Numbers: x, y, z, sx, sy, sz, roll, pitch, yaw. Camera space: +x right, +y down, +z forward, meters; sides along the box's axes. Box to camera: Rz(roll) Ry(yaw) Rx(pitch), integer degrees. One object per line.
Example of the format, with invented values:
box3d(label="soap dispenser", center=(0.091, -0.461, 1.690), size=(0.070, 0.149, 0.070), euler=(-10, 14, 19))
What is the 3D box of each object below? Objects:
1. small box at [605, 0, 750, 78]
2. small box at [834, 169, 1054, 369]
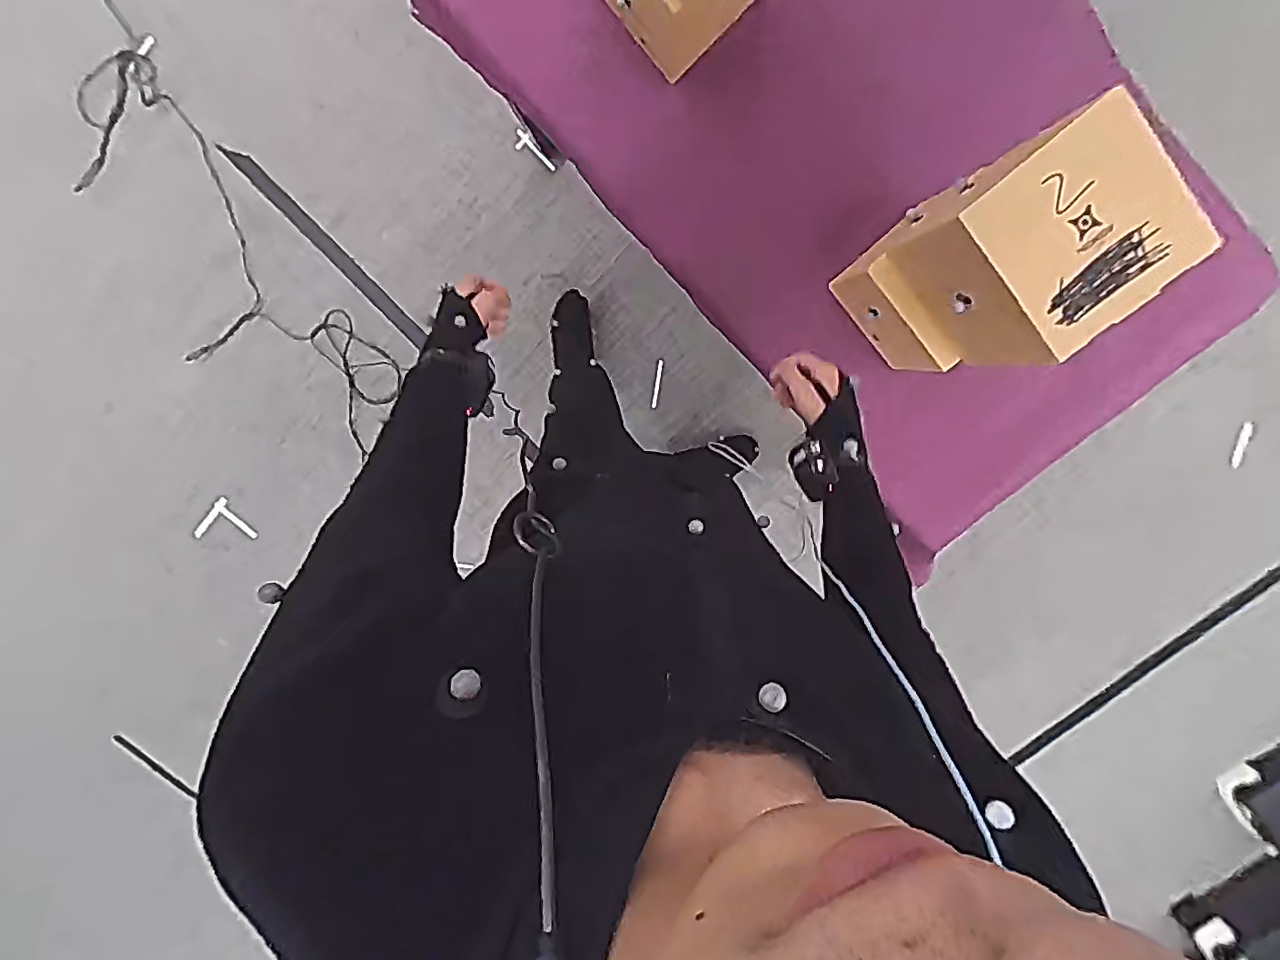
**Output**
box3d(label="small box", center=(0.045, -0.651, 0.657), size=(0.179, 0.176, 0.168), euler=(-41, 99, 10))
box3d(label="small box", center=(0.388, -0.268, 0.734), size=(0.179, 0.176, 0.168), euler=(-41, 98, 9))
